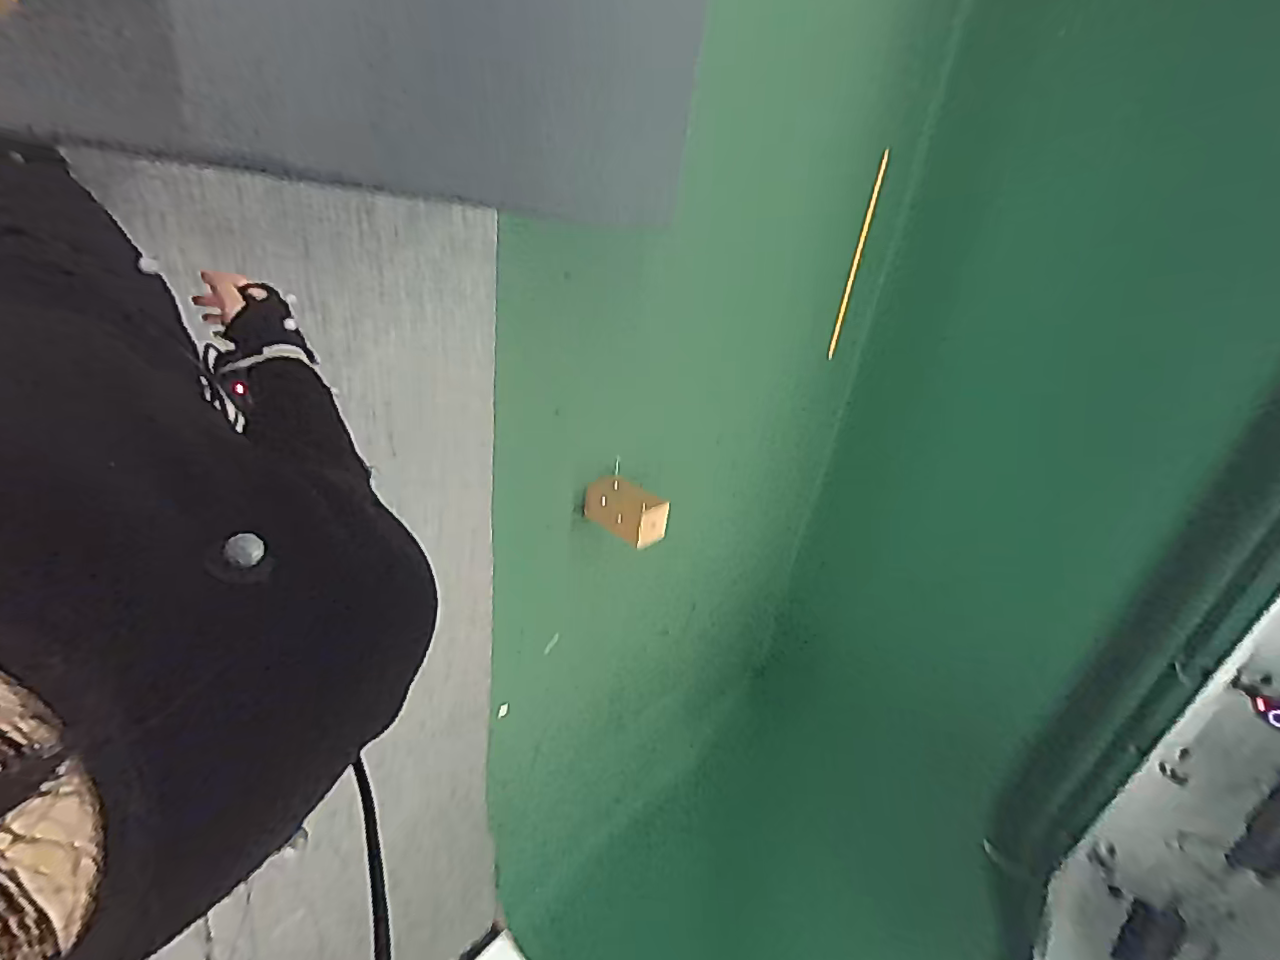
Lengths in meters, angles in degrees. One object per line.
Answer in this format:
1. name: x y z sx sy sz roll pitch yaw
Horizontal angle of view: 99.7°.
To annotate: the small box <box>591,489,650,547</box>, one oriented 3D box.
1. small box: -0.084 0.156 2.308 0.179 0.176 0.168 -21 129 -47
